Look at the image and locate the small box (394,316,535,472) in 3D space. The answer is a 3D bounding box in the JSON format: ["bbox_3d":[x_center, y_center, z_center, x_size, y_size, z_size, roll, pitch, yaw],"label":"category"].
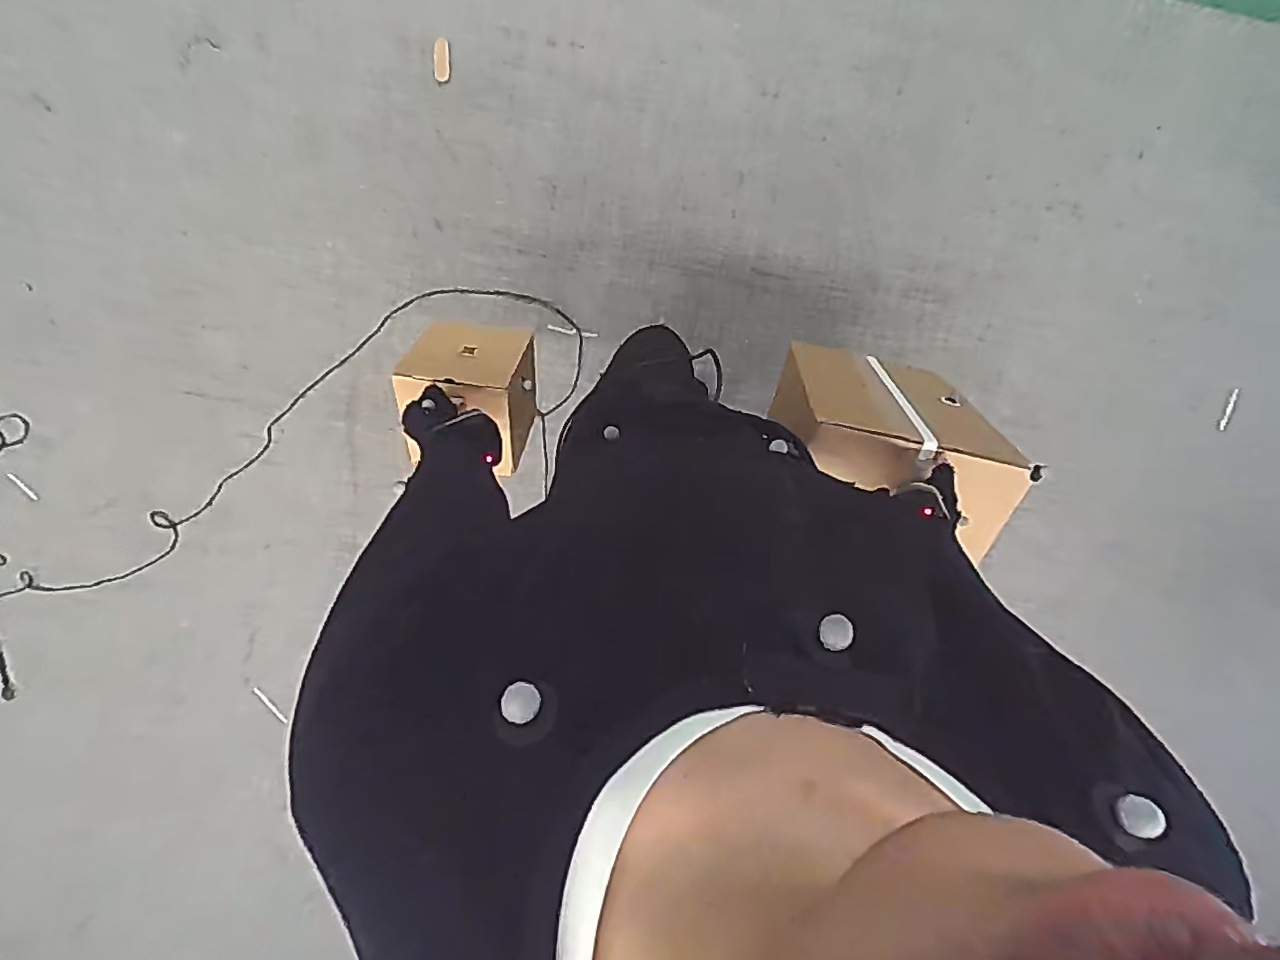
[{"bbox_3d":[-0.268,-0.139,0.875,0.168,0.179,0.176,7,134,0],"label":"small box"}]
